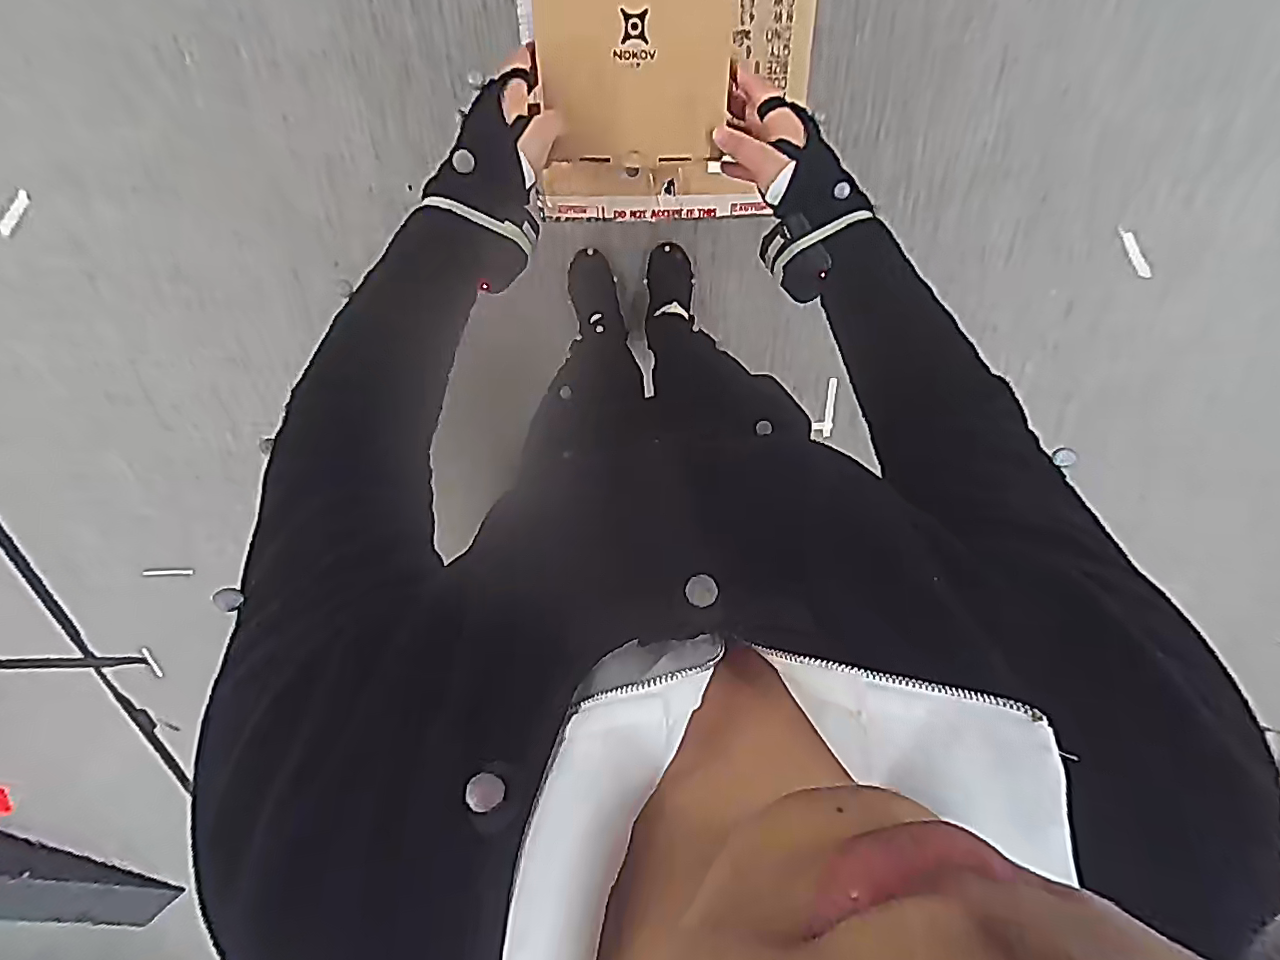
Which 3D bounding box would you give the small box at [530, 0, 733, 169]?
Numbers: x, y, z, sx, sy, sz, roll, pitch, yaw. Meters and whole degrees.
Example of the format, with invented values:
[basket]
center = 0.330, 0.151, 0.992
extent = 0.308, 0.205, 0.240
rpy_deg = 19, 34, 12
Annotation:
[small box]
center = -0.007, -0.403, 0.514
extent = 0.168, 0.176, 0.179
rpy_deg = -1, 123, -1
